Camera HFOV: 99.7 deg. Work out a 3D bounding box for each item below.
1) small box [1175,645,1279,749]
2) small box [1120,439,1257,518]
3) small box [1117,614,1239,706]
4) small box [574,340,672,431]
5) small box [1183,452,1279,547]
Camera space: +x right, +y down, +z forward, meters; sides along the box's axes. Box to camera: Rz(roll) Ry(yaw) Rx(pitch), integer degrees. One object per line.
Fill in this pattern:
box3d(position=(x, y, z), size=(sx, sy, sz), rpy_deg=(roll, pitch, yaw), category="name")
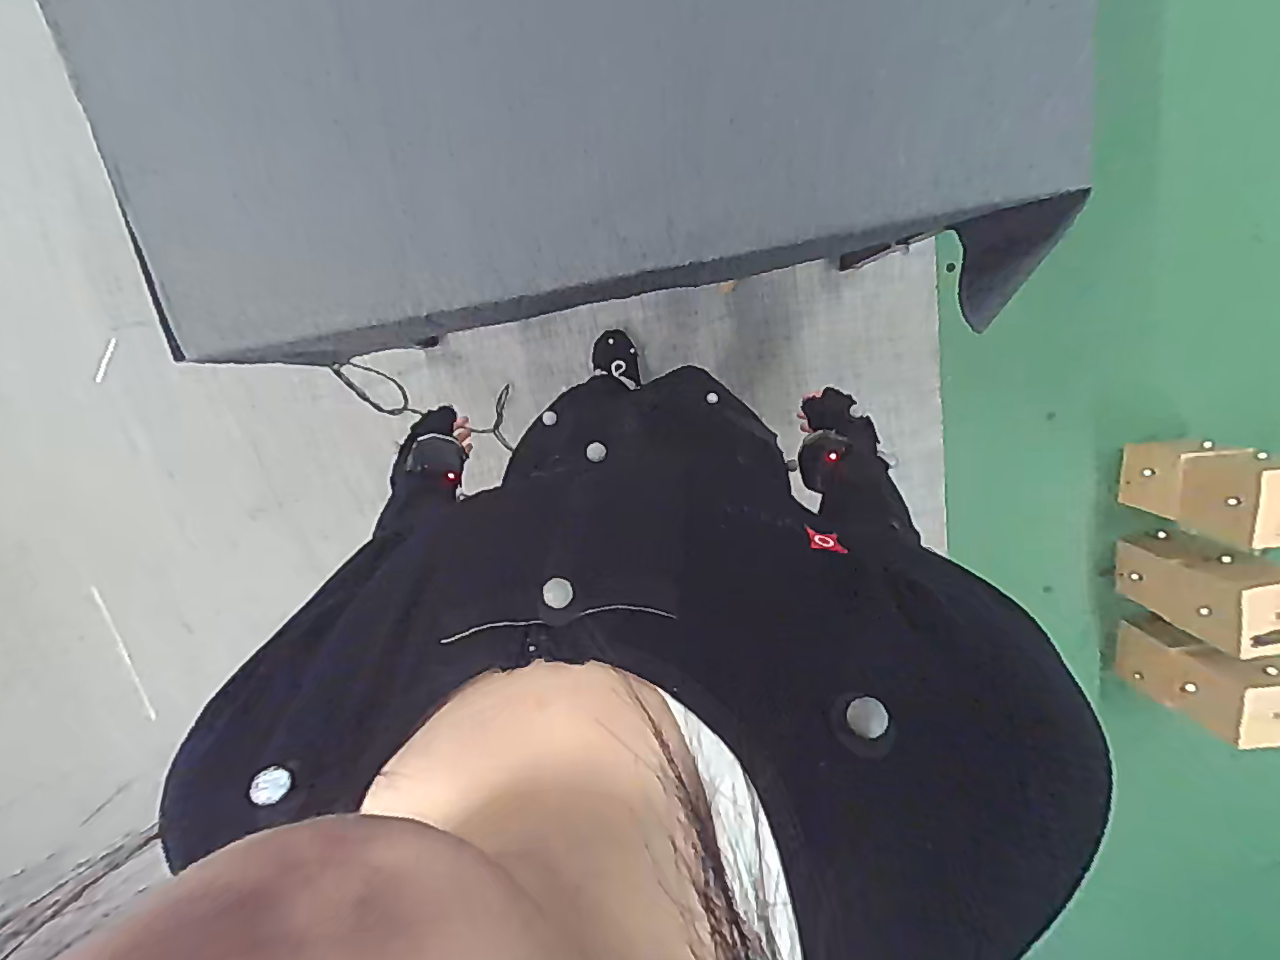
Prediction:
box3d(position=(1.480, 0.522, 1.320), size=(0.179, 0.176, 0.168), rpy_deg=(-8, 103, 3), category="small box")
box3d(position=(1.373, -0.008, 1.369), size=(0.179, 0.176, 0.168), rpy_deg=(-4, 102, 2), category="small box")
box3d(position=(1.461, 0.489, 1.480), size=(0.168, 0.176, 0.179), rpy_deg=(-6, 103, 3), category="small box")
box3d(position=(-0.048, -0.246, 1.381), size=(0.179, 0.176, 0.168), rpy_deg=(32, 115, 11), category="small box")
box3d(position=(1.380, 0.036, 1.209), size=(0.168, 0.176, 0.179), rpy_deg=(-5, 102, 3), category="small box")
